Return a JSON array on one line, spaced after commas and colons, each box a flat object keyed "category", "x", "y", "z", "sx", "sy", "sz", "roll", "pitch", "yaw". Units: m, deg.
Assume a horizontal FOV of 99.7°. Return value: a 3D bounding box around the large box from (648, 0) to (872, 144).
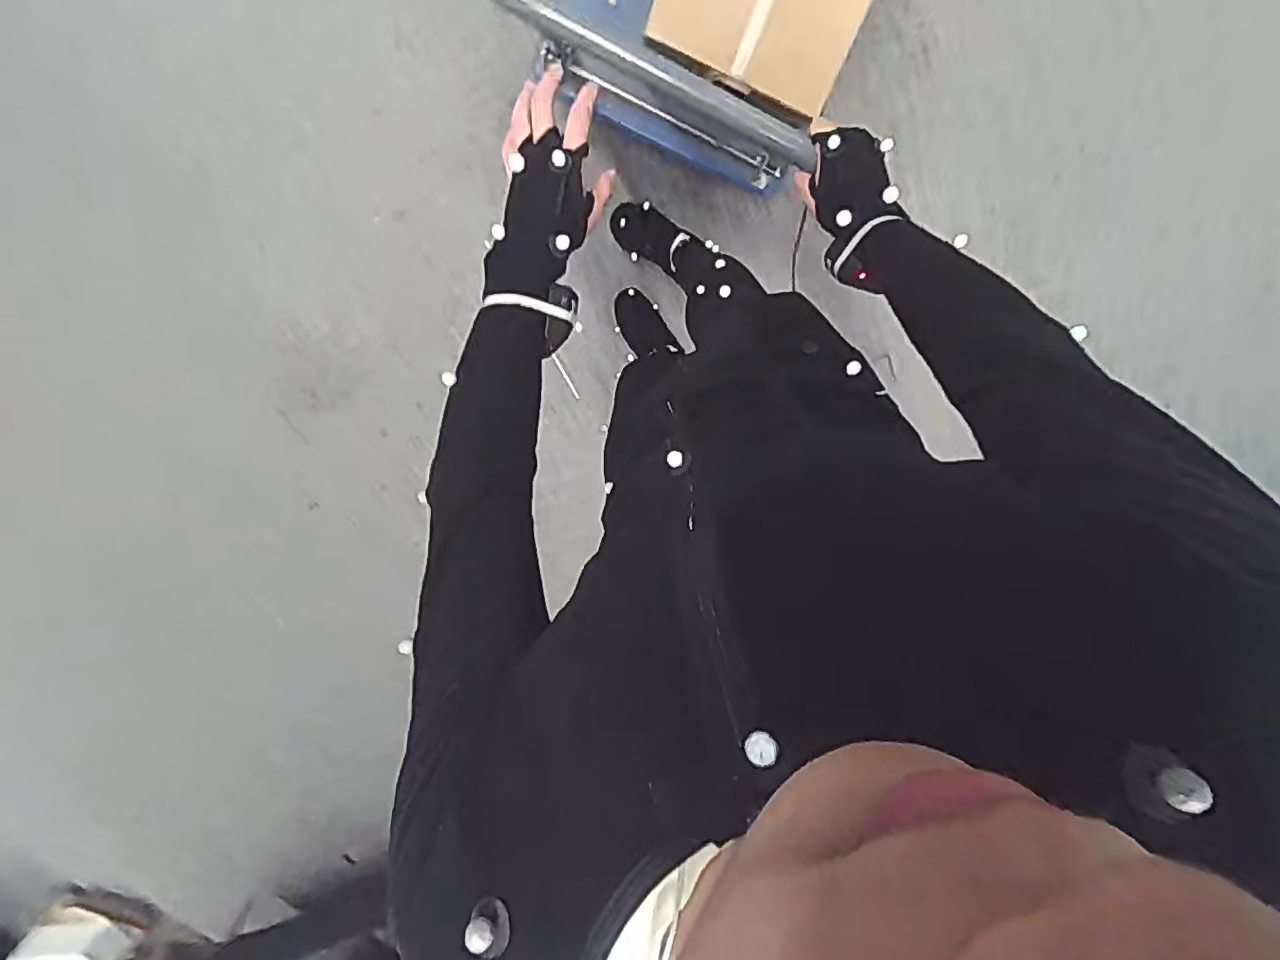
[{"category": "large box", "x": 0.222, "y": -0.873, "z": 0.932, "sx": 0.320, "sy": 0.320, "sz": 0.408, "roll": 19, "pitch": 113, "yaw": -10}]
